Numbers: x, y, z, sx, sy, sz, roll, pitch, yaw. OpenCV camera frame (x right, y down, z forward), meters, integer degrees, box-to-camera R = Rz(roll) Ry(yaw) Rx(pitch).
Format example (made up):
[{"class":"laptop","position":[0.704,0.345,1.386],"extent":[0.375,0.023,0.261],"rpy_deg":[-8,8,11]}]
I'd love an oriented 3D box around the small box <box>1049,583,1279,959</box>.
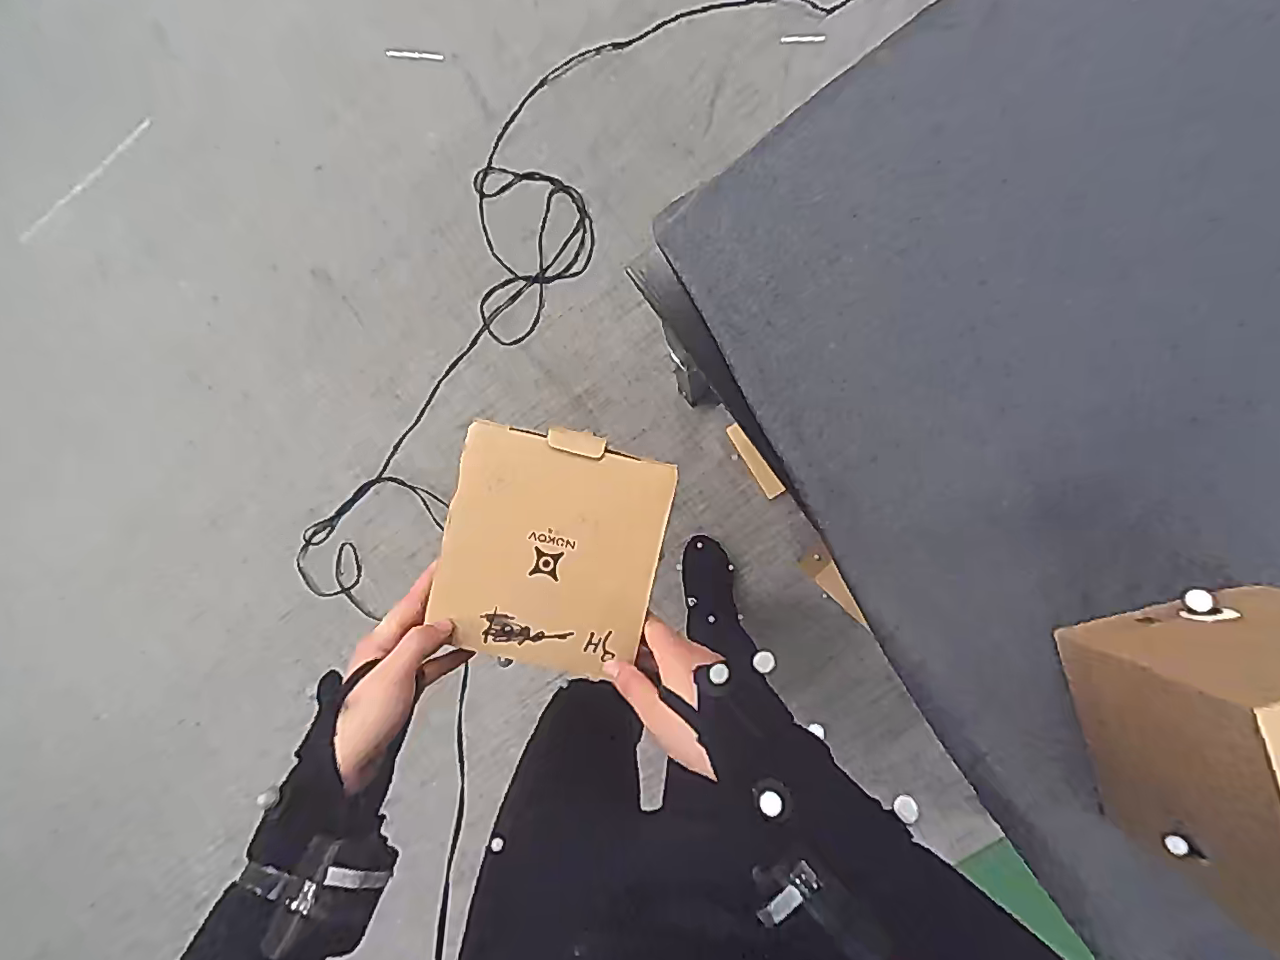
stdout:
[{"class":"small box","position":[0.447,0.189,0.385],"extent":[0.168,0.176,0.179],"rpy_deg":[-16,88,3]}]

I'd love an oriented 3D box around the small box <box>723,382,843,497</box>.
[{"class":"small box","position":[0.288,-0.078,1.130],"extent":[0.179,0.176,0.168],"rpy_deg":[-32,88,5]}]

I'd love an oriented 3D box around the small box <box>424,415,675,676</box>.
[{"class":"small box","position":[-0.072,0.051,0.500],"extent":[0.168,0.176,0.179],"rpy_deg":[13,90,-1]}]
